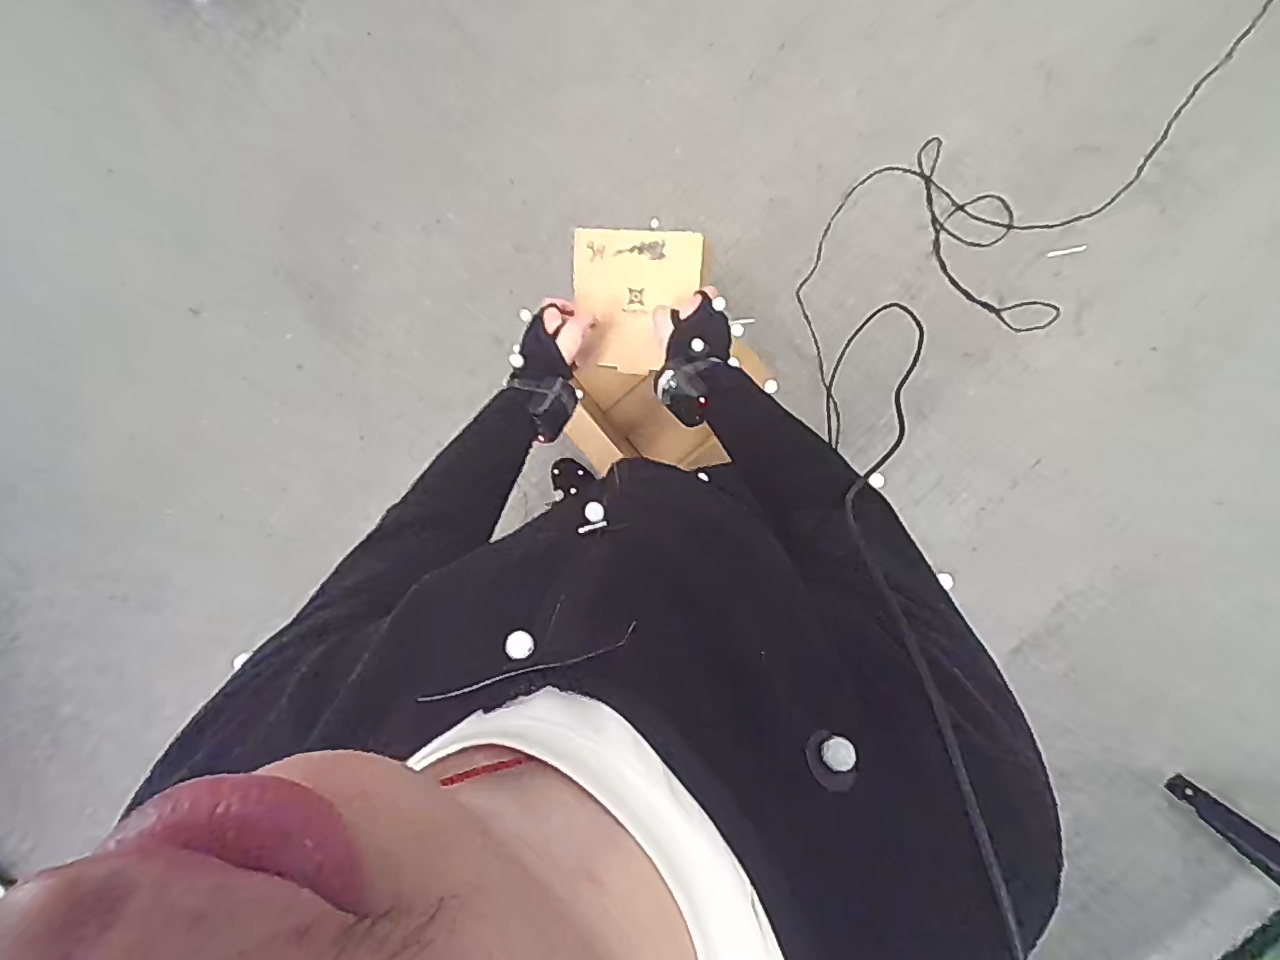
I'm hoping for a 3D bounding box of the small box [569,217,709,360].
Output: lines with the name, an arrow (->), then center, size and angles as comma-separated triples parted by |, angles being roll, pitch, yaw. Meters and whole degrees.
small box -> 0.006, -0.280, 0.781 | 0.168, 0.176, 0.179 | 5, 114, 12
